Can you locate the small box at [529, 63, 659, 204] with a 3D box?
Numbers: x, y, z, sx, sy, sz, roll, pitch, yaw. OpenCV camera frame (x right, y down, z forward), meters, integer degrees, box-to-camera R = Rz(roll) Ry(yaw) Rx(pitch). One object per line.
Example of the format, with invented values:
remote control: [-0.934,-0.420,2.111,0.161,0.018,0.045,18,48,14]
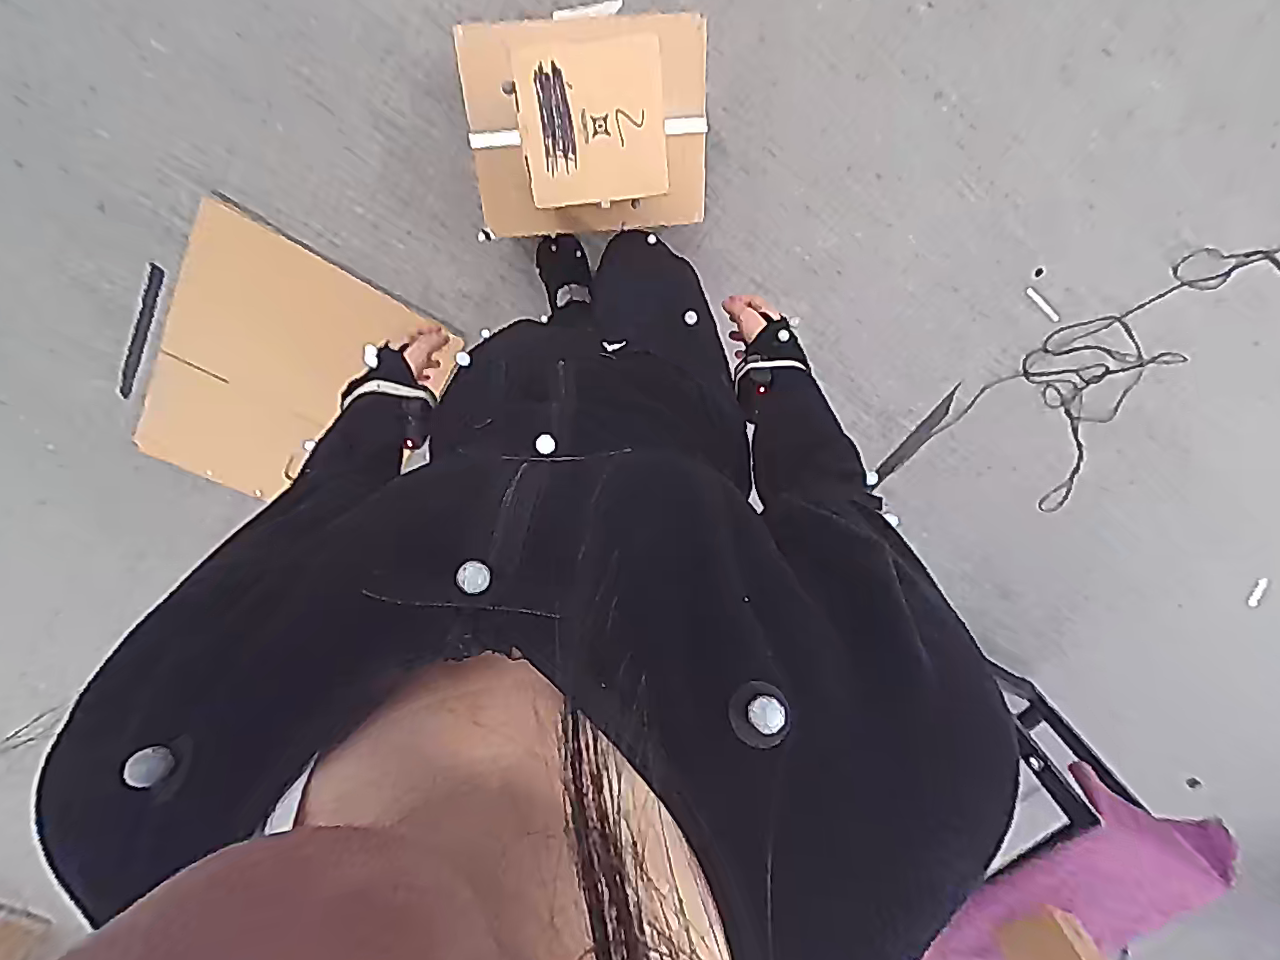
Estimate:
small box: [-0.070,-0.540,0.862,0.179,0.176,0.168,-8,118,-2]

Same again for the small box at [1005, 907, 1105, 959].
small box: [1.101,1.265,1.410,0.168,0.176,0.179,33,109,-20]
